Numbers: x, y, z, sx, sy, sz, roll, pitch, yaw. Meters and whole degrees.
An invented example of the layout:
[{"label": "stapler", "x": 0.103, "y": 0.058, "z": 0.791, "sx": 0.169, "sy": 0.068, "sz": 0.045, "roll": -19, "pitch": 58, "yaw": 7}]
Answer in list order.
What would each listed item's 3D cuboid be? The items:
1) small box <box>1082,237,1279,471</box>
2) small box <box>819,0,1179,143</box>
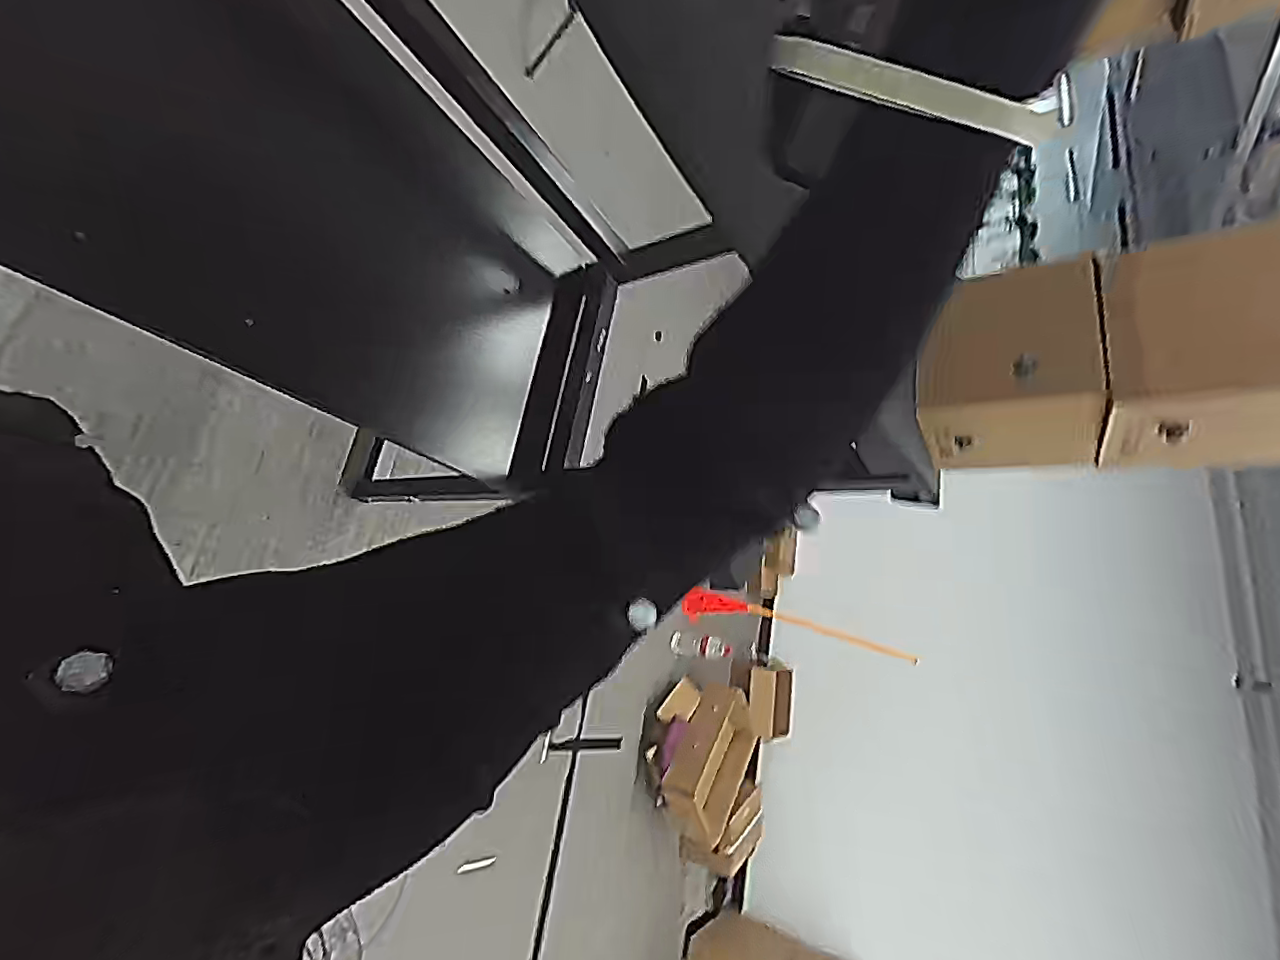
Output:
[{"label": "small box", "x": 0.564, "y": -0.119, "z": 0.548, "sx": 0.168, "sy": 0.176, "sz": 0.179, "roll": 34, "pitch": 62, "yaw": -49}, {"label": "small box", "x": 0.191, "y": -0.340, "z": 0.305, "sx": 0.168, "sy": 0.176, "sz": 0.179, "roll": 33, "pitch": 60, "yaw": -51}]
